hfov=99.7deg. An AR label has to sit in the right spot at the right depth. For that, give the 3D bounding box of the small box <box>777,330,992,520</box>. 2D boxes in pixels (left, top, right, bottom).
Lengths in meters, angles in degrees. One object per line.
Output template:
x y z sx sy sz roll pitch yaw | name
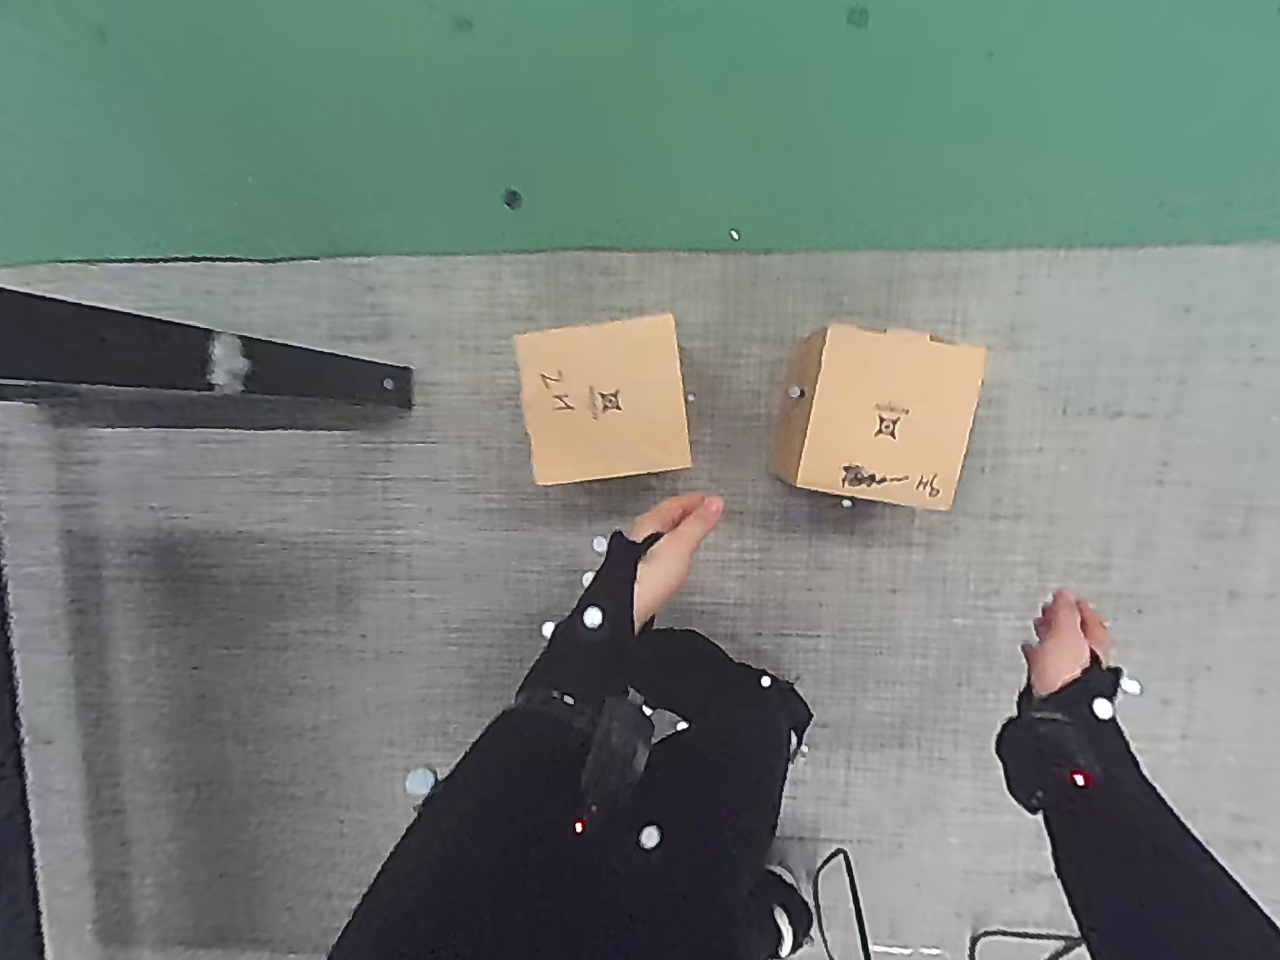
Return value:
0.270 -0.064 0.642 0.168 0.176 0.179 10 96 2 | small box

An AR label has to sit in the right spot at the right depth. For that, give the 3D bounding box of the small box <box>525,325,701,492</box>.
-0.025 -0.083 0.661 0.179 0.176 0.168 -7 94 5 | small box
